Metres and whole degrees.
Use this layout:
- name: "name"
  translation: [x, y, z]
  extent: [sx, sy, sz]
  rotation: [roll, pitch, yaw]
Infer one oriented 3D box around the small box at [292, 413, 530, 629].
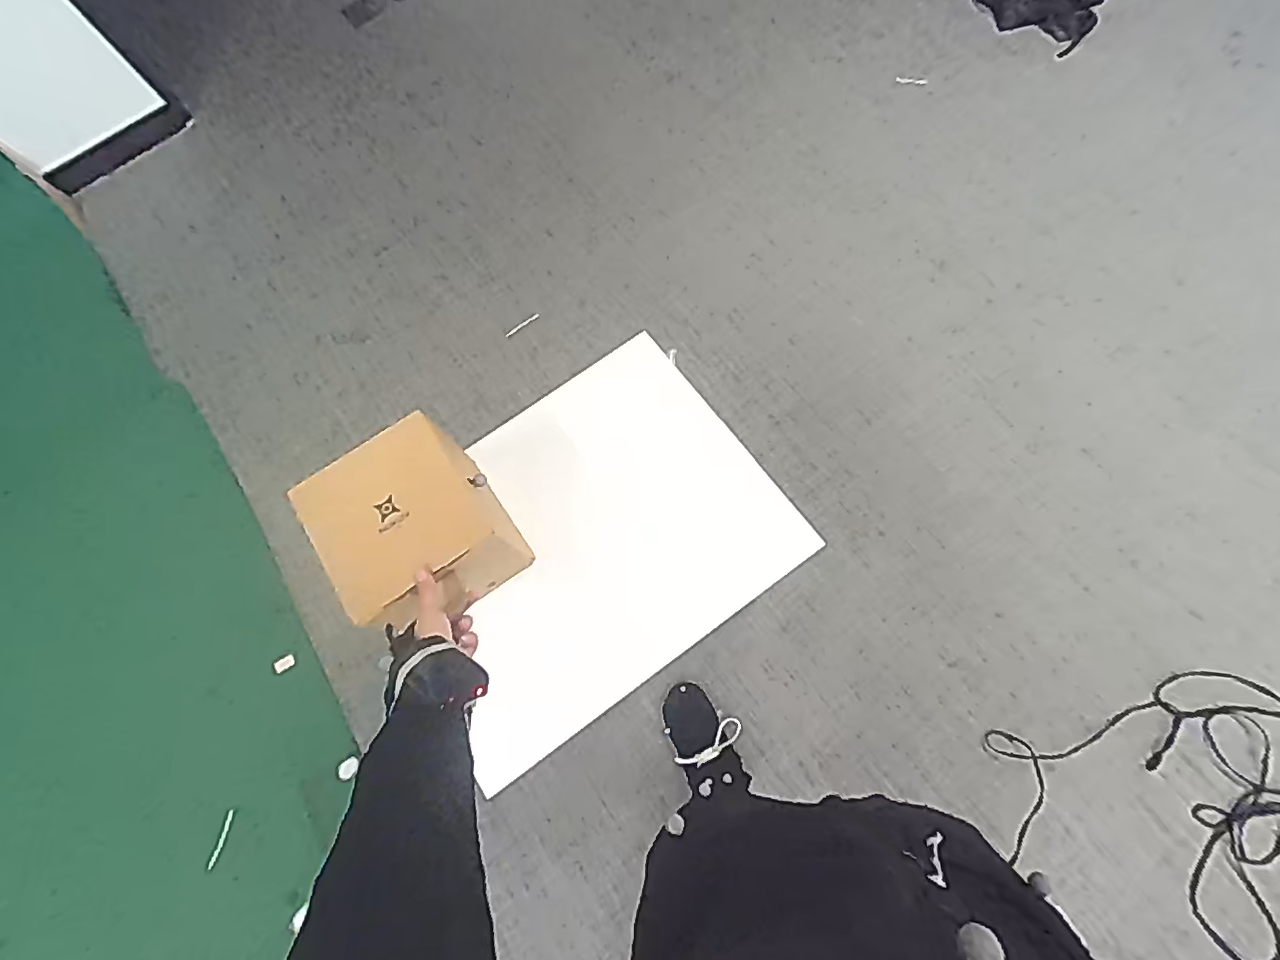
- name: "small box"
  translation: [-0.255, 0.059, 0.640]
  extent: [0.168, 0.176, 0.179]
  rotation: [-34, 74, -8]
